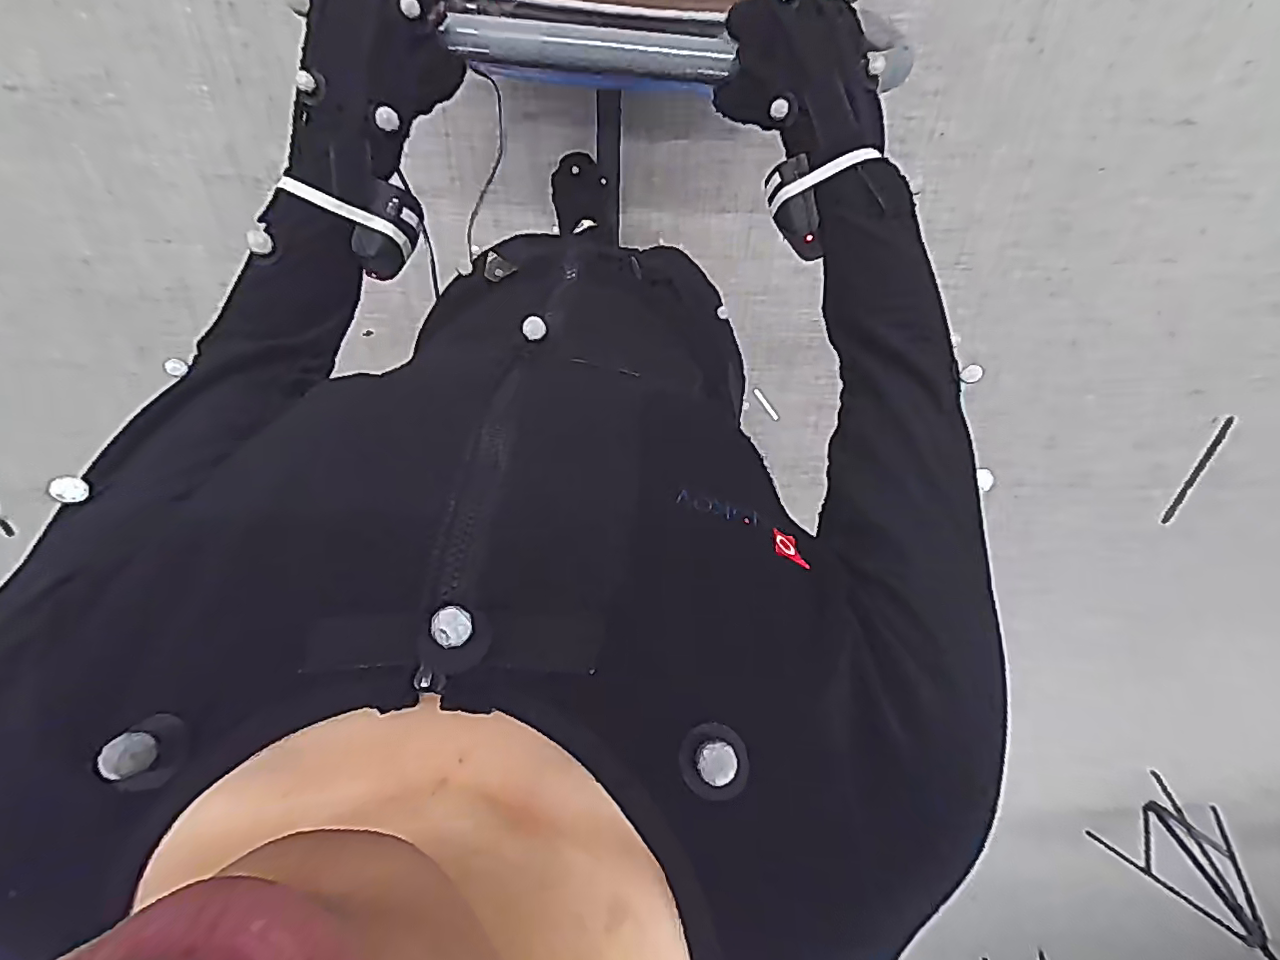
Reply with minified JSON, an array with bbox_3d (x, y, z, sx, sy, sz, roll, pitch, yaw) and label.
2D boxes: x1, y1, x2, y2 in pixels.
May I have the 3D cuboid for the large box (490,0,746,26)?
[{"bbox_3d":[-0.036,-0.848,0.729,0.408,0.320,0.320,1,123,-5],"label":"large box"}]
